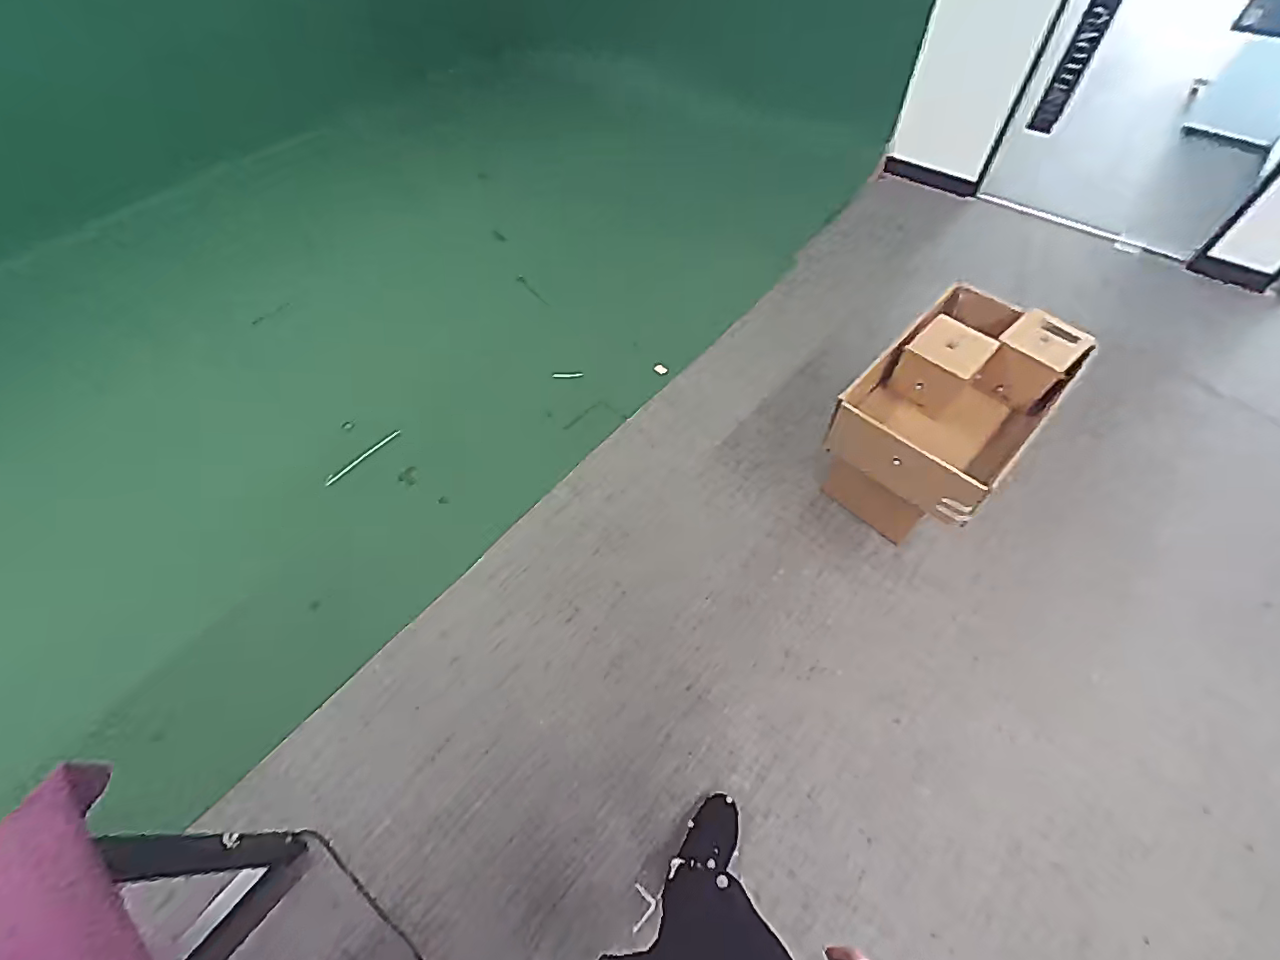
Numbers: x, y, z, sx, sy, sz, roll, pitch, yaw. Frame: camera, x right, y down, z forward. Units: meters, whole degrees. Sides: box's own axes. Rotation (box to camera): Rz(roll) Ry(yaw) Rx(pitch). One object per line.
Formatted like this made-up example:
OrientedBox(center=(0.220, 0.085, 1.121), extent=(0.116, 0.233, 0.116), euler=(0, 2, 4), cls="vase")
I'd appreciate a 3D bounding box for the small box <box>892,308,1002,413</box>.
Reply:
OrientedBox(center=(0.795, -0.309, 1.424), extent=(0.179, 0.176, 0.168), euler=(-40, 66, -20), cls="small box")
